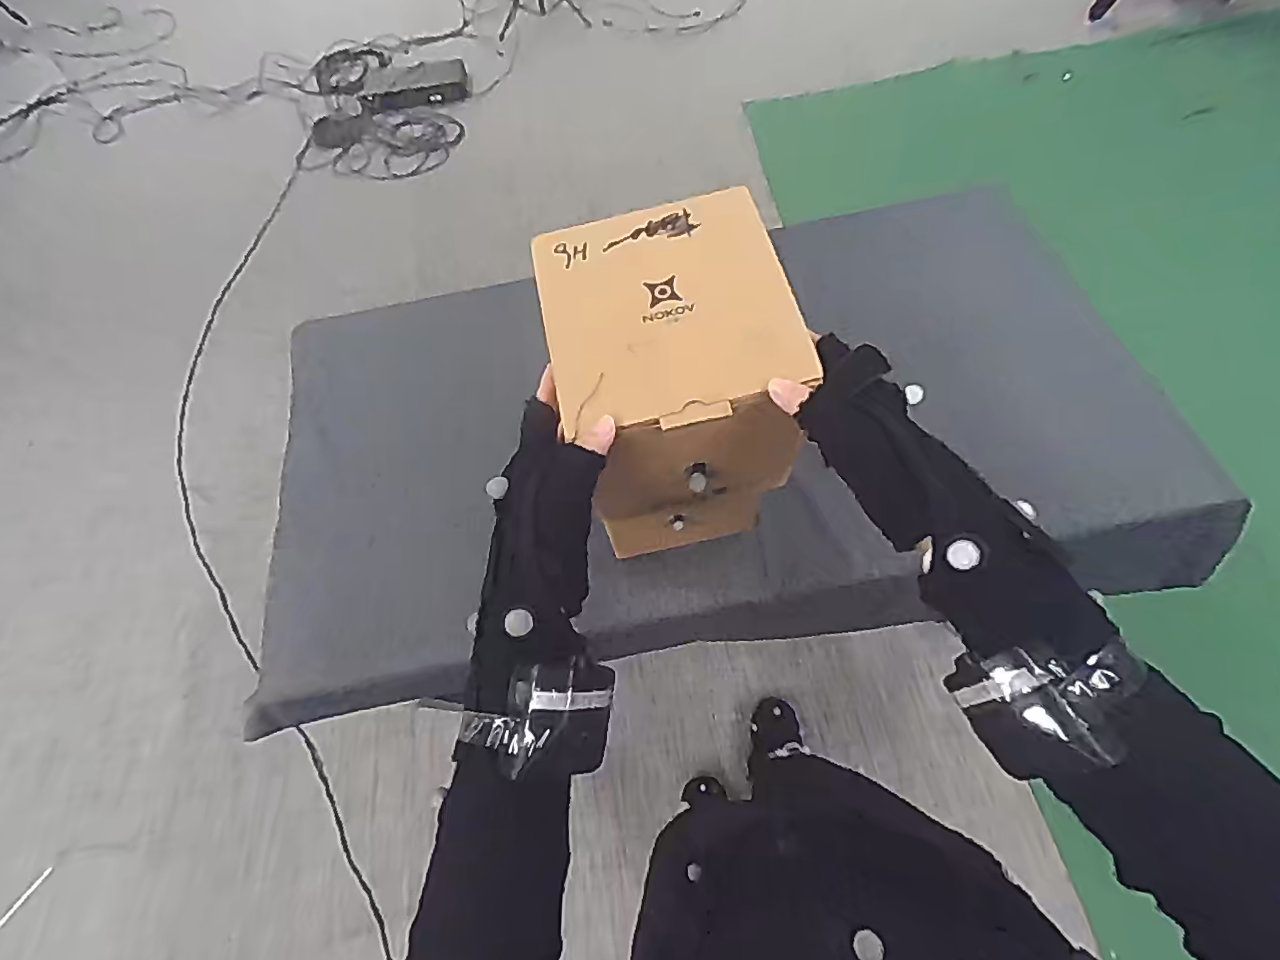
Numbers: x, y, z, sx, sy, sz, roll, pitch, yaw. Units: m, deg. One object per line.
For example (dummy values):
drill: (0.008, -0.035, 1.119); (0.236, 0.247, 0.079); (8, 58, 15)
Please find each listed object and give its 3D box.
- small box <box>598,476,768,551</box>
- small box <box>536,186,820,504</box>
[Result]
small box: (0.038, -0.029, 0.648); (0.179, 0.176, 0.168); (-13, 63, 0)
small box: (0.027, -0.091, 0.441); (0.168, 0.176, 0.179); (-14, 68, 1)
